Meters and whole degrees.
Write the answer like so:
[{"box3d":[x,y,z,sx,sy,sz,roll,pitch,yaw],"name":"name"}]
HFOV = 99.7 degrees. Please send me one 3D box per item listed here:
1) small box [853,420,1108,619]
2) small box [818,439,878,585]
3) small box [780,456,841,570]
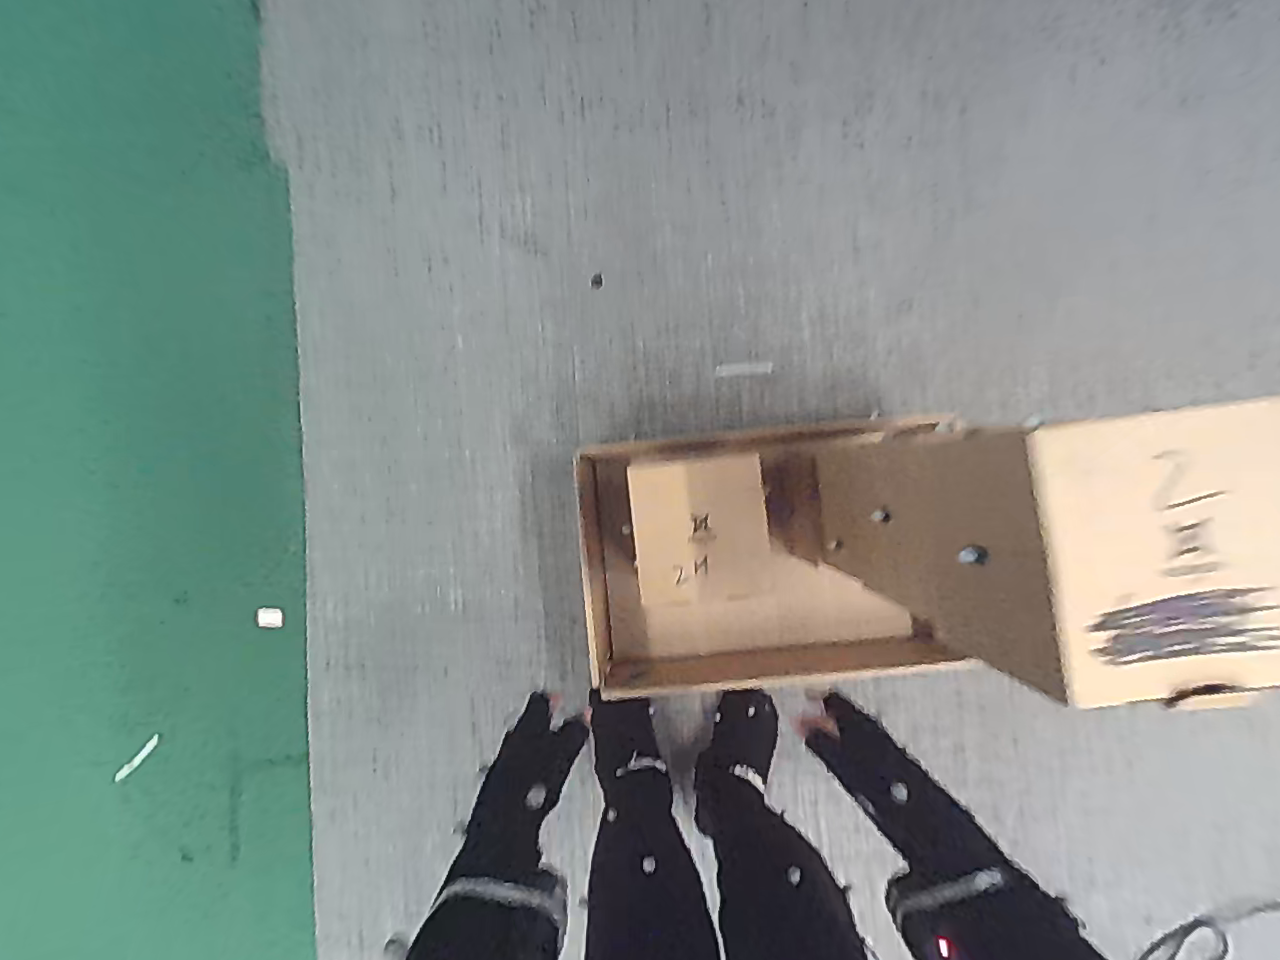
[{"box3d":[0.340,0.037,0.574,0.168,0.176,0.179,-5,88,2],"name":"small box"},{"box3d":[0.347,0.034,0.721,0.168,0.176,0.179,-5,88,3],"name":"small box"},{"box3d":[0.342,0.042,0.903,0.168,0.176,0.179,-10,88,3],"name":"small box"}]
